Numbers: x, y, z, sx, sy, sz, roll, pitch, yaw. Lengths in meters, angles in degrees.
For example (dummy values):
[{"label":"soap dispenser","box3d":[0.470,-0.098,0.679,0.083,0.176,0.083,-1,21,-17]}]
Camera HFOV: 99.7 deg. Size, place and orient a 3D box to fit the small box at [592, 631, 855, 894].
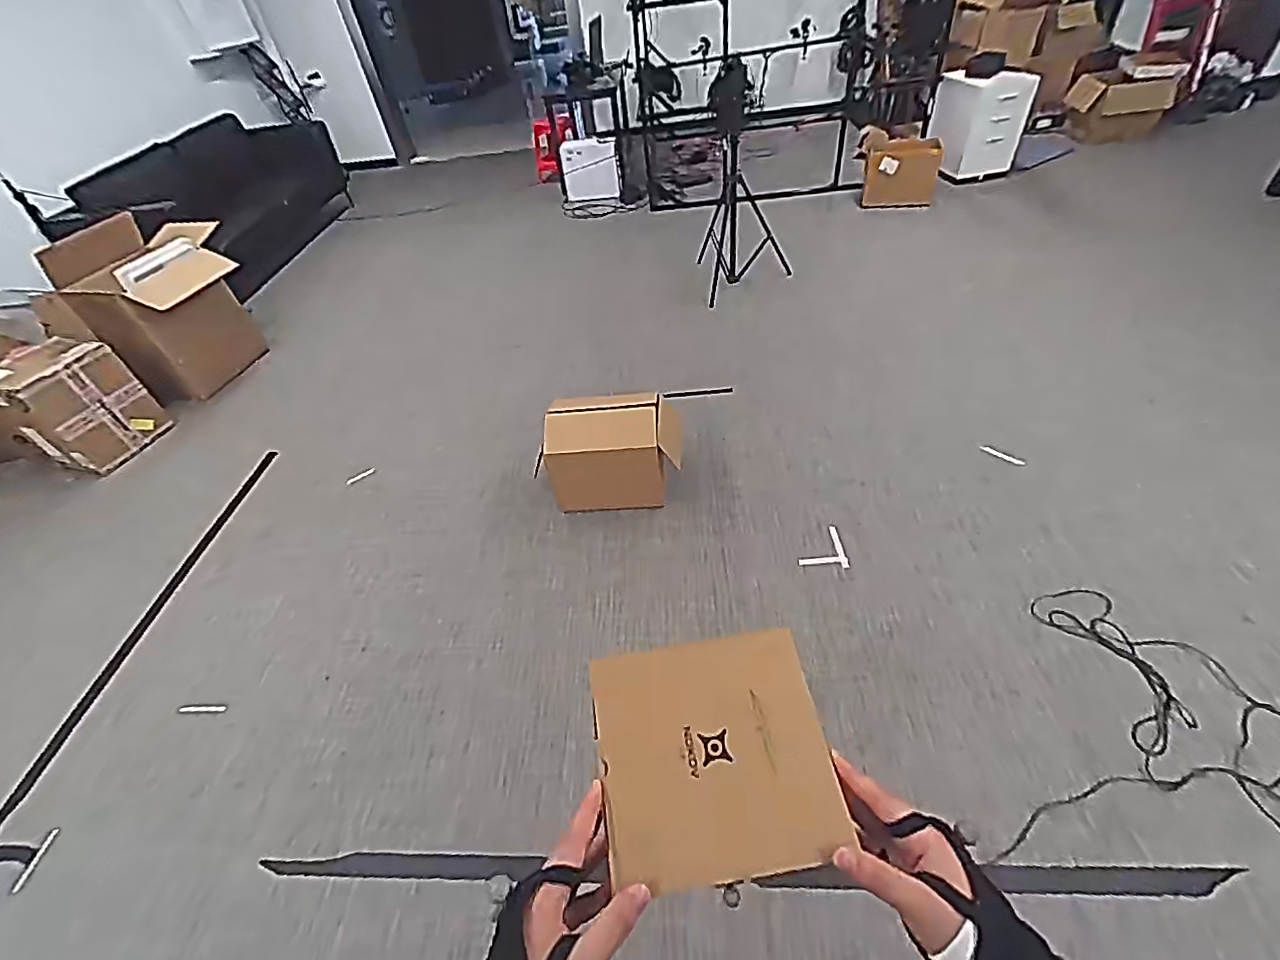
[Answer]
[{"label":"small box","box3d":[0.062,0.257,0.486,0.179,0.176,0.168,-10,54,-2]}]
